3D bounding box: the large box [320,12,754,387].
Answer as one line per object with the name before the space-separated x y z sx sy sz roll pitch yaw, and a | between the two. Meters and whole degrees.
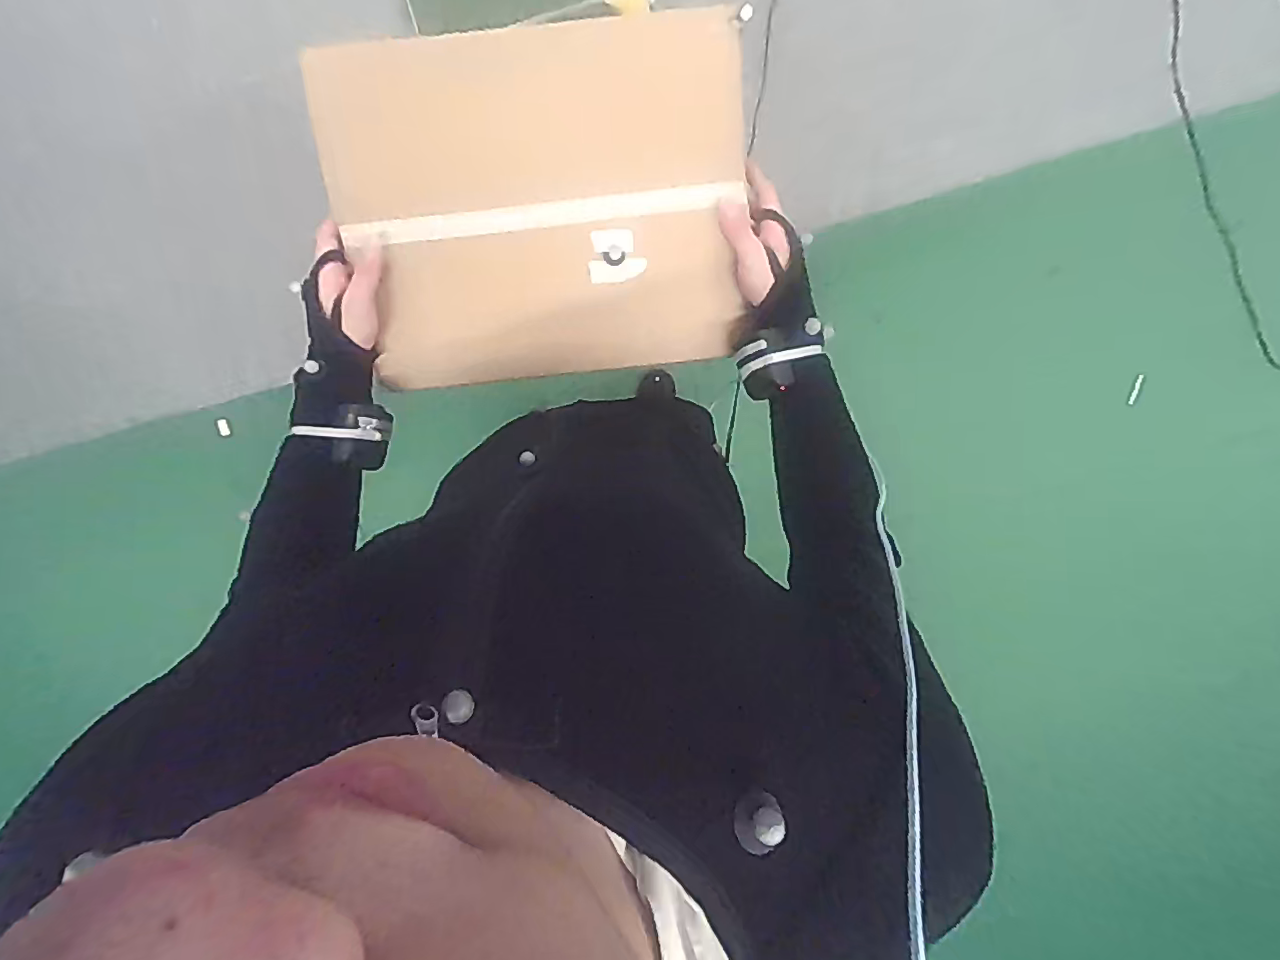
large box | -0.096 -0.309 0.689 0.408 0.320 0.320 -6 107 -1
